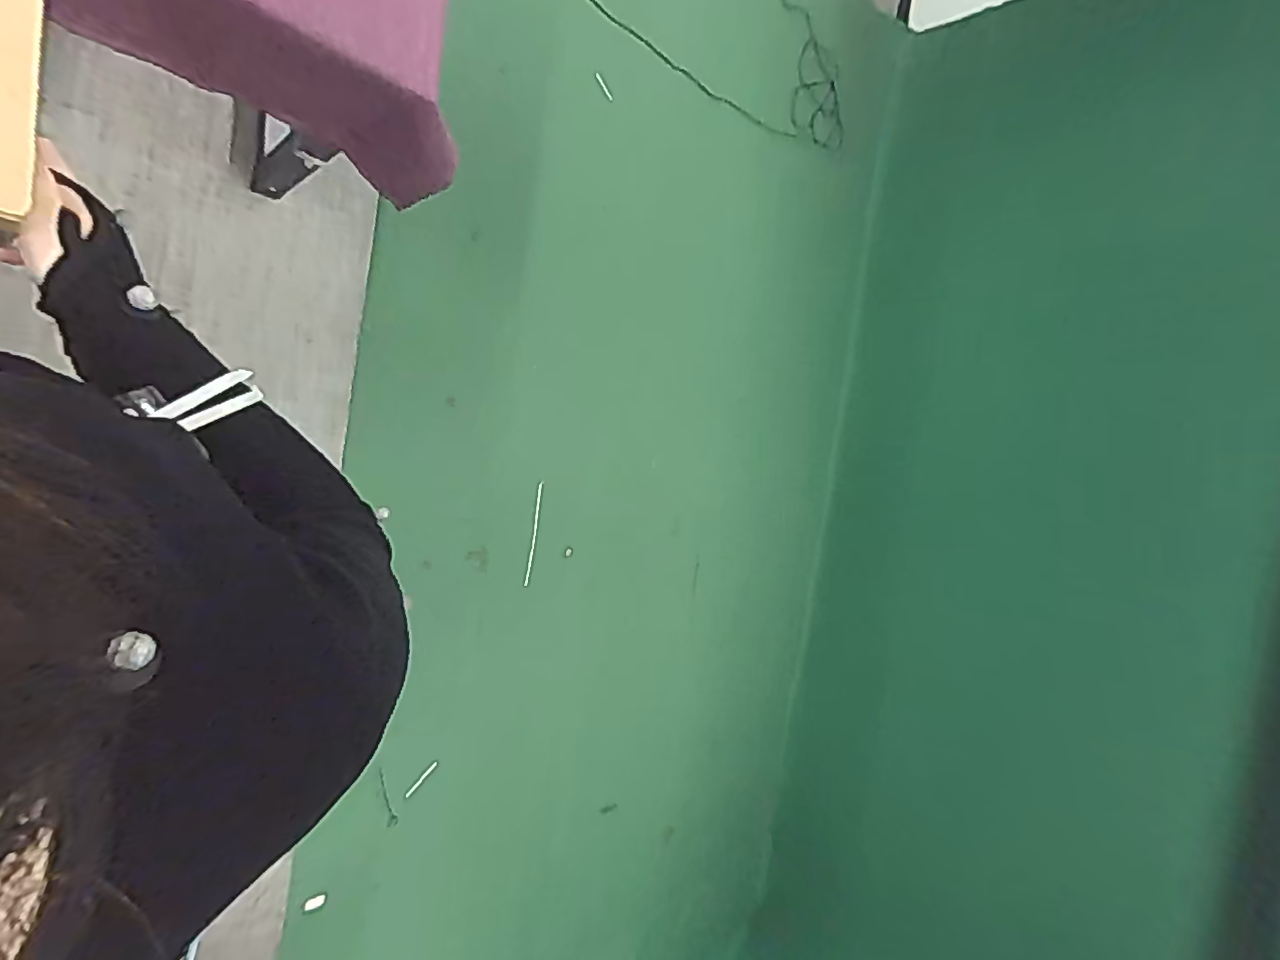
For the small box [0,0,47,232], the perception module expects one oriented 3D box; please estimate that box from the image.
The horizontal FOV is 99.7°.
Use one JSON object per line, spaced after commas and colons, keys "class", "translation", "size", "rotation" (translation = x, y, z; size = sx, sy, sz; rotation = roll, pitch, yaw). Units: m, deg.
{"class": "small box", "translation": [-0.436, -0.246, 0.278], "size": [0.168, 0.176, 0.179], "rotation": [3, 98, -53]}
